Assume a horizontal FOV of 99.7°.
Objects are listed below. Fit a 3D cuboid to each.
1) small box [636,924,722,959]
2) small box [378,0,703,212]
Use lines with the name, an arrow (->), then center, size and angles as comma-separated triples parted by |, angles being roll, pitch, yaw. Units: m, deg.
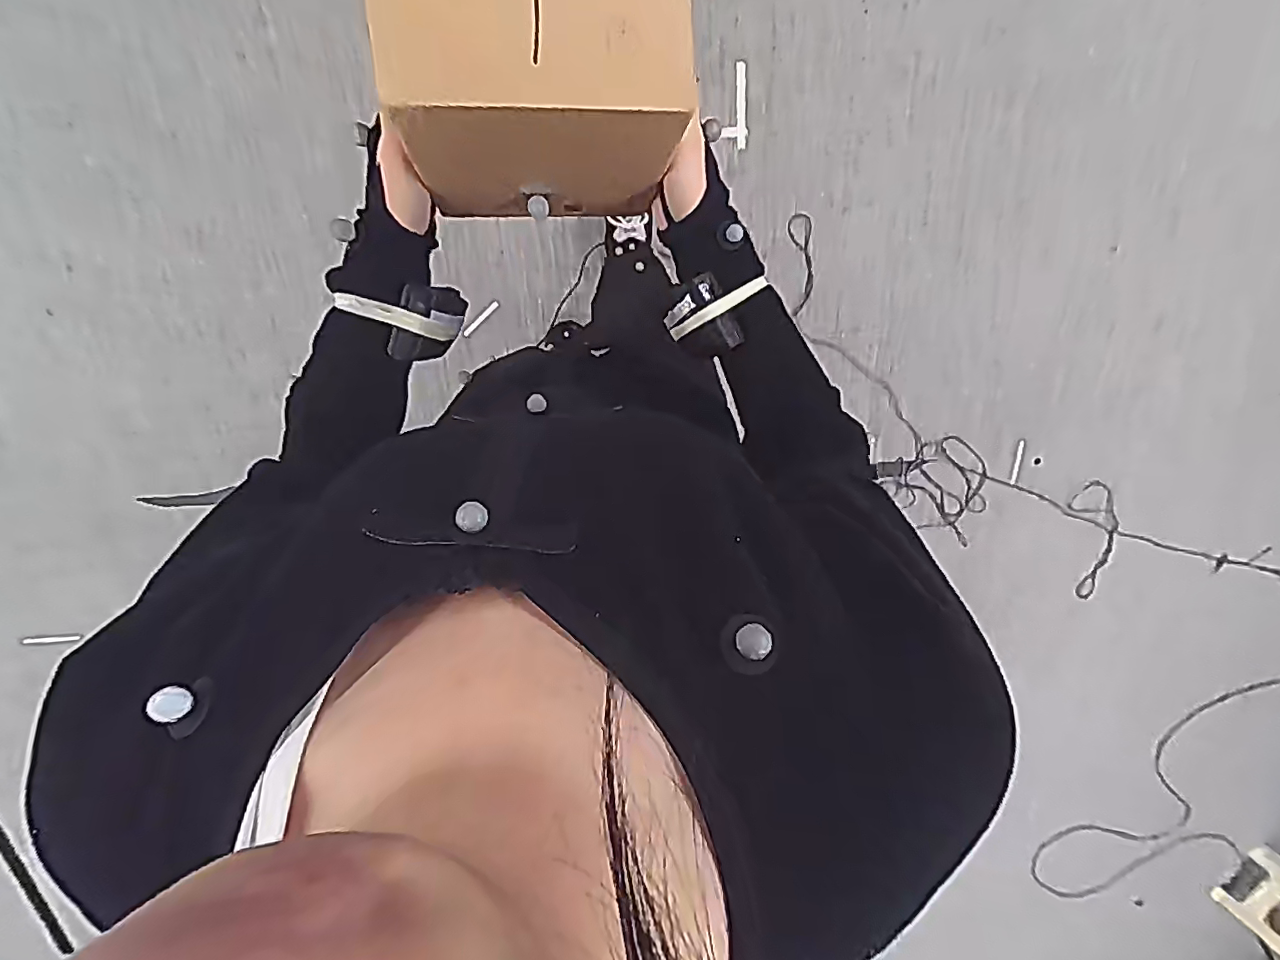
small box -> 0.086, 1.009, 1.055 | 0.168, 0.176, 0.179 | -6, 111, -3
small box -> -0.064, -0.294, 0.348 | 0.168, 0.176, 0.179 | -5, 99, -8
